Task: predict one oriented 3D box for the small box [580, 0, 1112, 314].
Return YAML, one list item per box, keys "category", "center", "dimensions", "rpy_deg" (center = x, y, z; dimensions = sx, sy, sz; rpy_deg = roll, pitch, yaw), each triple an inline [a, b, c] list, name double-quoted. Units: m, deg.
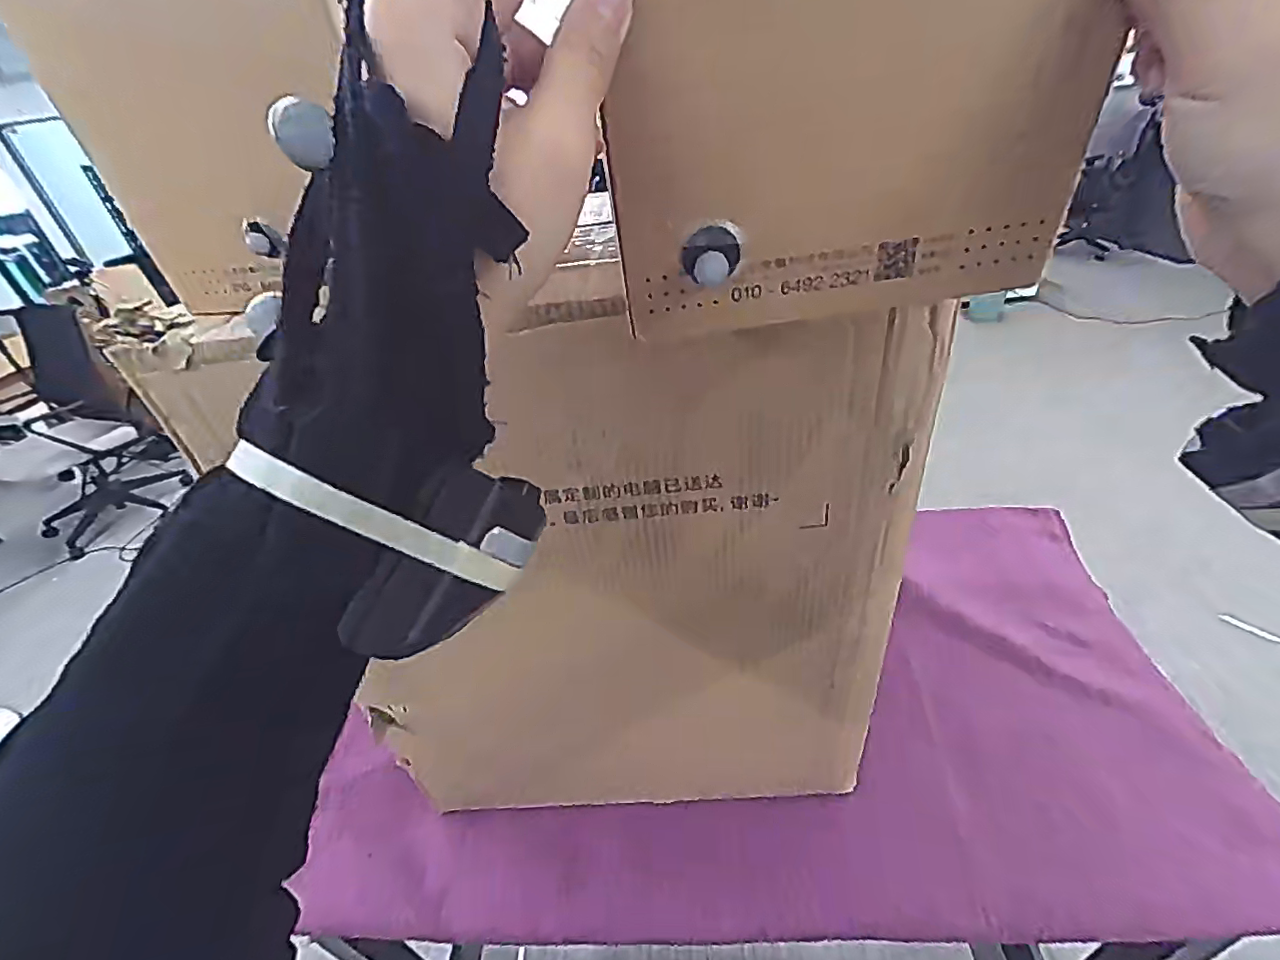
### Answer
- category: "small box"
  center: [0.064, -0.181, 0.231]
  dimensions: [0.168, 0.176, 0.179]
  rpy_deg: [-7, 40, 3]
